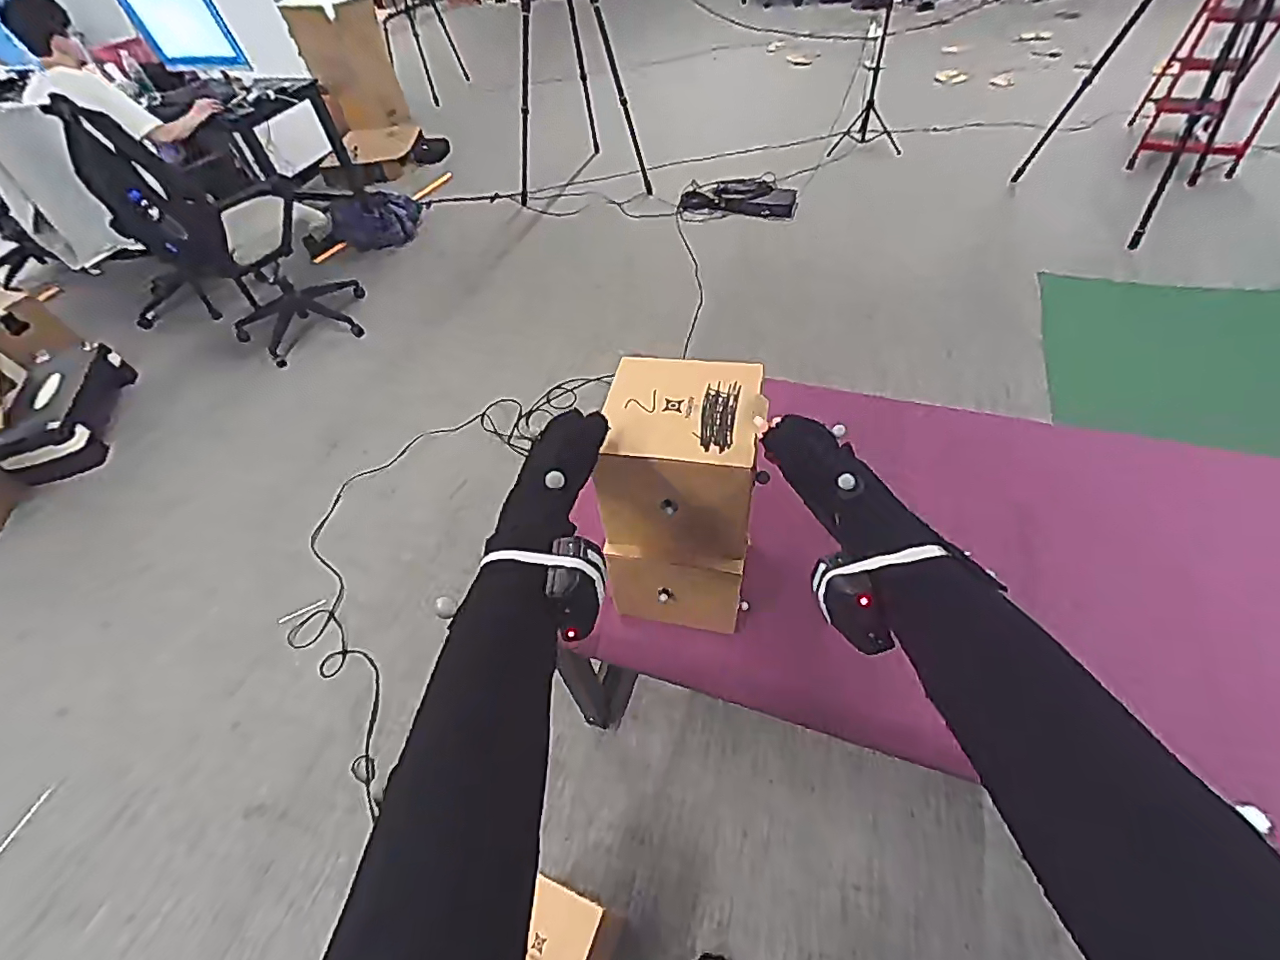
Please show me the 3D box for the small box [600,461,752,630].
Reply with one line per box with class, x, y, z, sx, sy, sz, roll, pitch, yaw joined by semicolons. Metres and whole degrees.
small box;0.057;0.097;0.775;0.179;0.176;0.168;8;51;12
